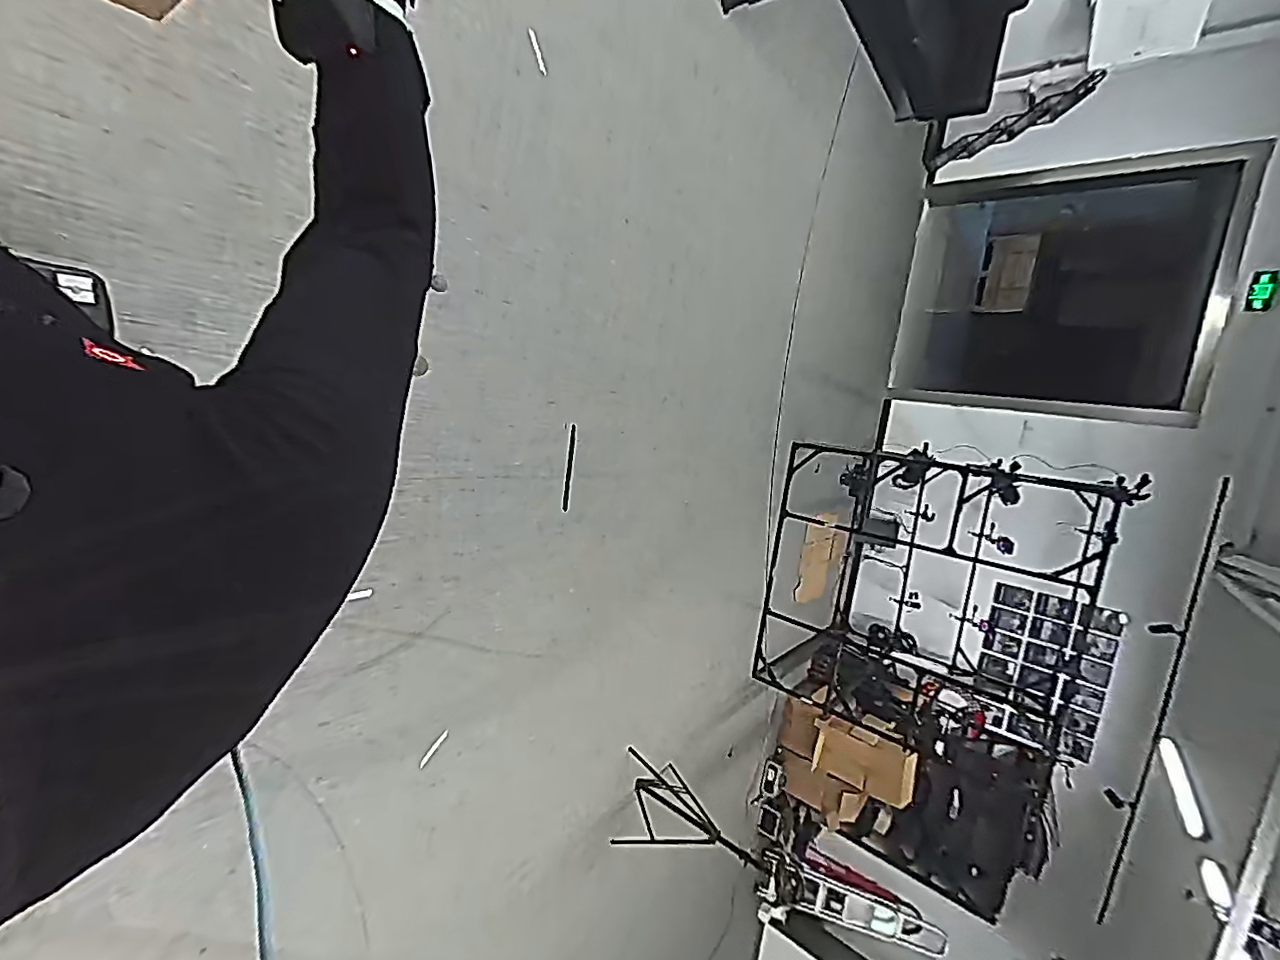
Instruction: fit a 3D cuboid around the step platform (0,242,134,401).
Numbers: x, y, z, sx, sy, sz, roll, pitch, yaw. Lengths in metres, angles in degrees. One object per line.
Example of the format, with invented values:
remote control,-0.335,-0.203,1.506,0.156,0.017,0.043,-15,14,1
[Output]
step platform,-1.308,-0.295,0.898,0.684,0.204,0.286,-5,105,-53
